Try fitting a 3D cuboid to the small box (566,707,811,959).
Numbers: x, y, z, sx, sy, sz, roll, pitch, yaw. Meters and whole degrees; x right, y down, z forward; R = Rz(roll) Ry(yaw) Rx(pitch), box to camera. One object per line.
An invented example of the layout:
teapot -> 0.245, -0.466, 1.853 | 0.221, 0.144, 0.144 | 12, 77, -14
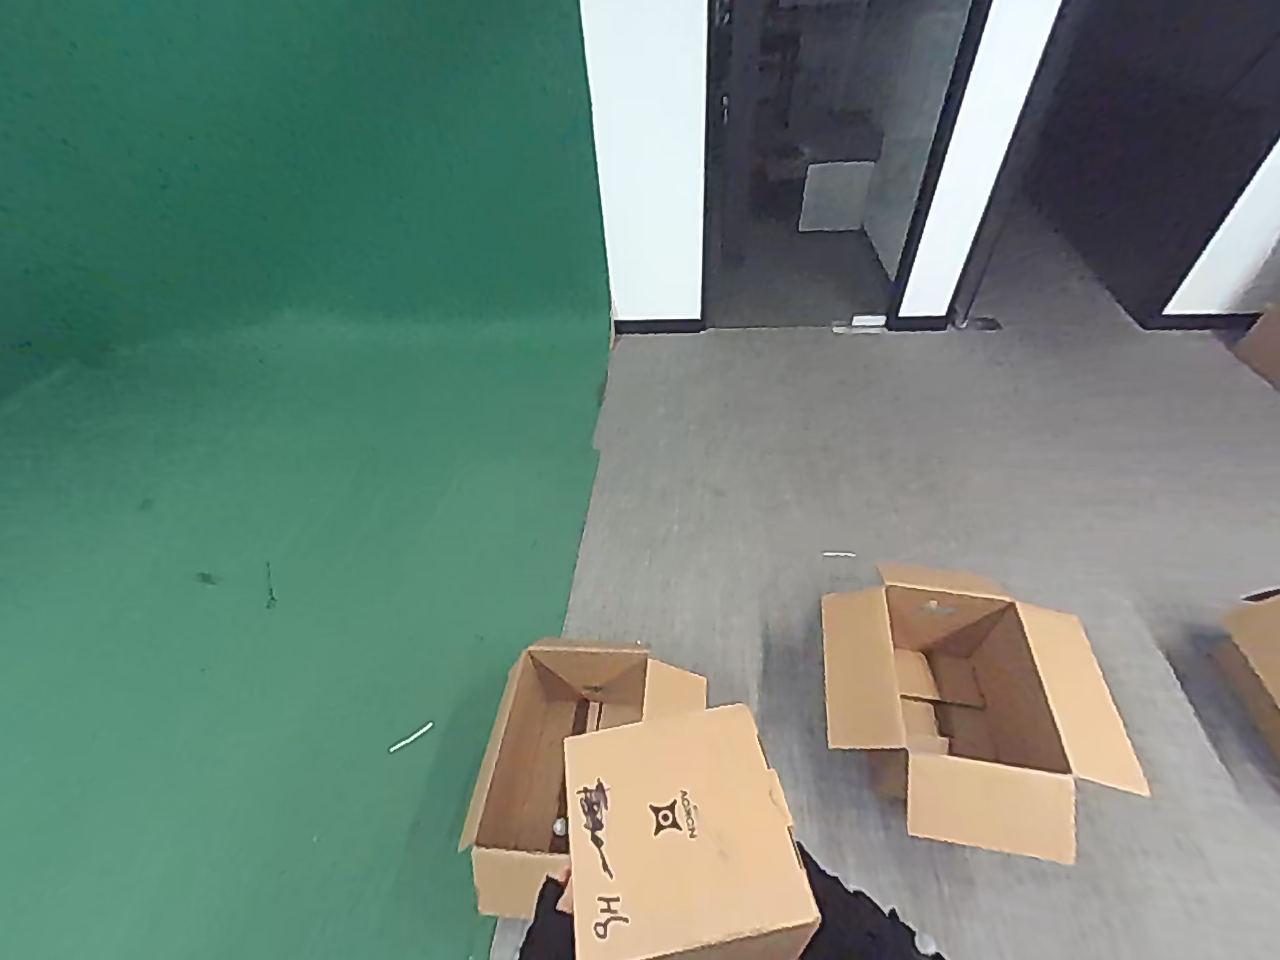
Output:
small box -> 0.030, 0.335, 0.491 | 0.179, 0.176, 0.168 | -7, 39, -5
